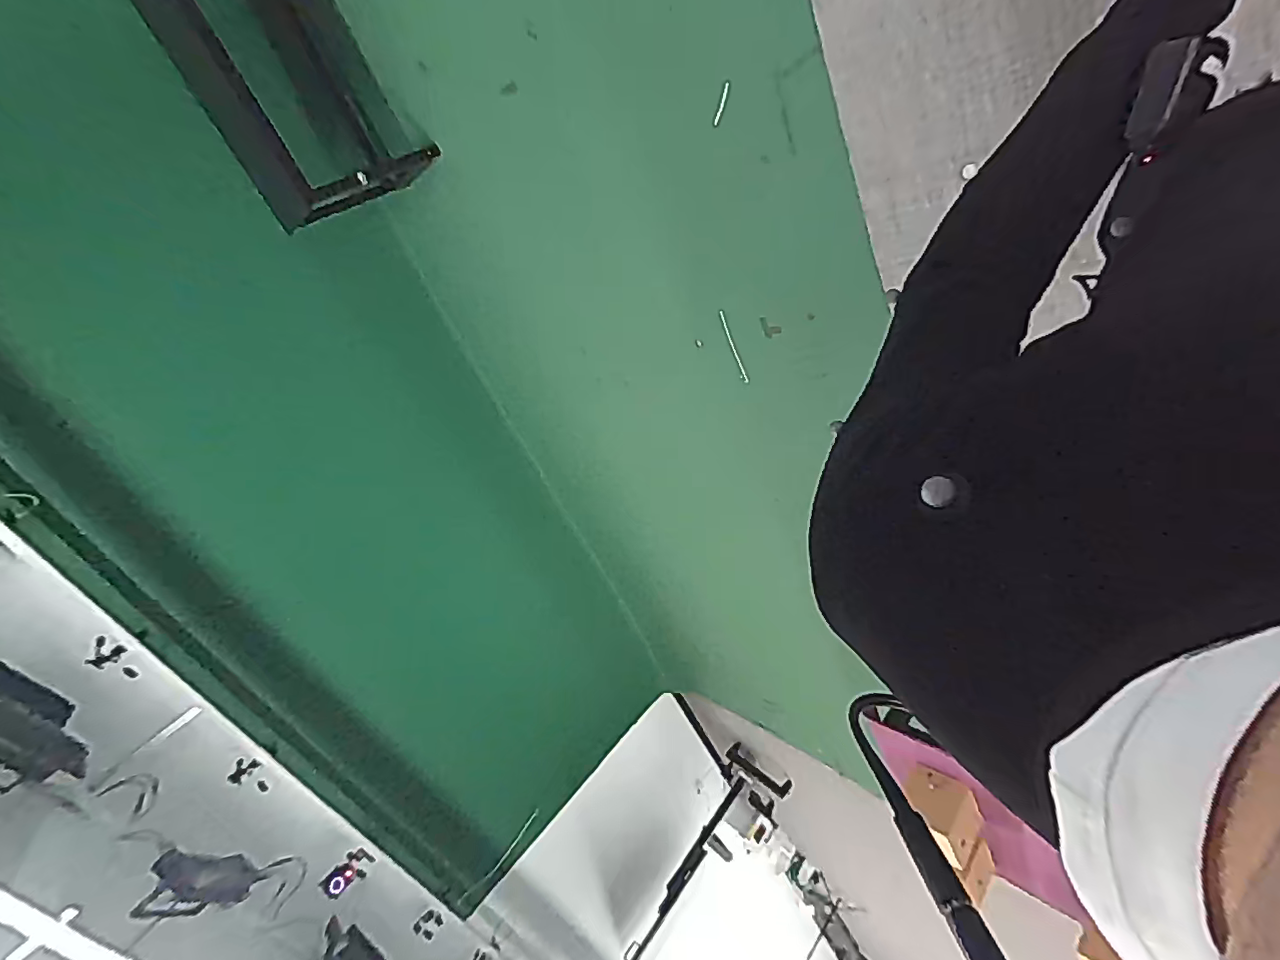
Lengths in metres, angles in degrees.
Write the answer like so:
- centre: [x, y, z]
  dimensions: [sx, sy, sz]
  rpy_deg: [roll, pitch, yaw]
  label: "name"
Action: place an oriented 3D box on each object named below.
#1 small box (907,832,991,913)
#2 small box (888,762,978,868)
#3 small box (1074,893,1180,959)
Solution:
- centre: [0.988, 1.206, 1.720]
  dimensions: [0.168, 0.176, 0.179]
  rpy_deg: [2, 127, 53]
  label: "small box"
- centre: [0.874, 0.984, 1.603]
  dimensions: [0.168, 0.176, 0.179]
  rpy_deg: [3, 129, 52]
  label: "small box"
- centre: [1.243, 1.219, 1.374]
  dimensions: [0.168, 0.176, 0.179]
  rpy_deg: [0, 125, 54]
  label: "small box"
